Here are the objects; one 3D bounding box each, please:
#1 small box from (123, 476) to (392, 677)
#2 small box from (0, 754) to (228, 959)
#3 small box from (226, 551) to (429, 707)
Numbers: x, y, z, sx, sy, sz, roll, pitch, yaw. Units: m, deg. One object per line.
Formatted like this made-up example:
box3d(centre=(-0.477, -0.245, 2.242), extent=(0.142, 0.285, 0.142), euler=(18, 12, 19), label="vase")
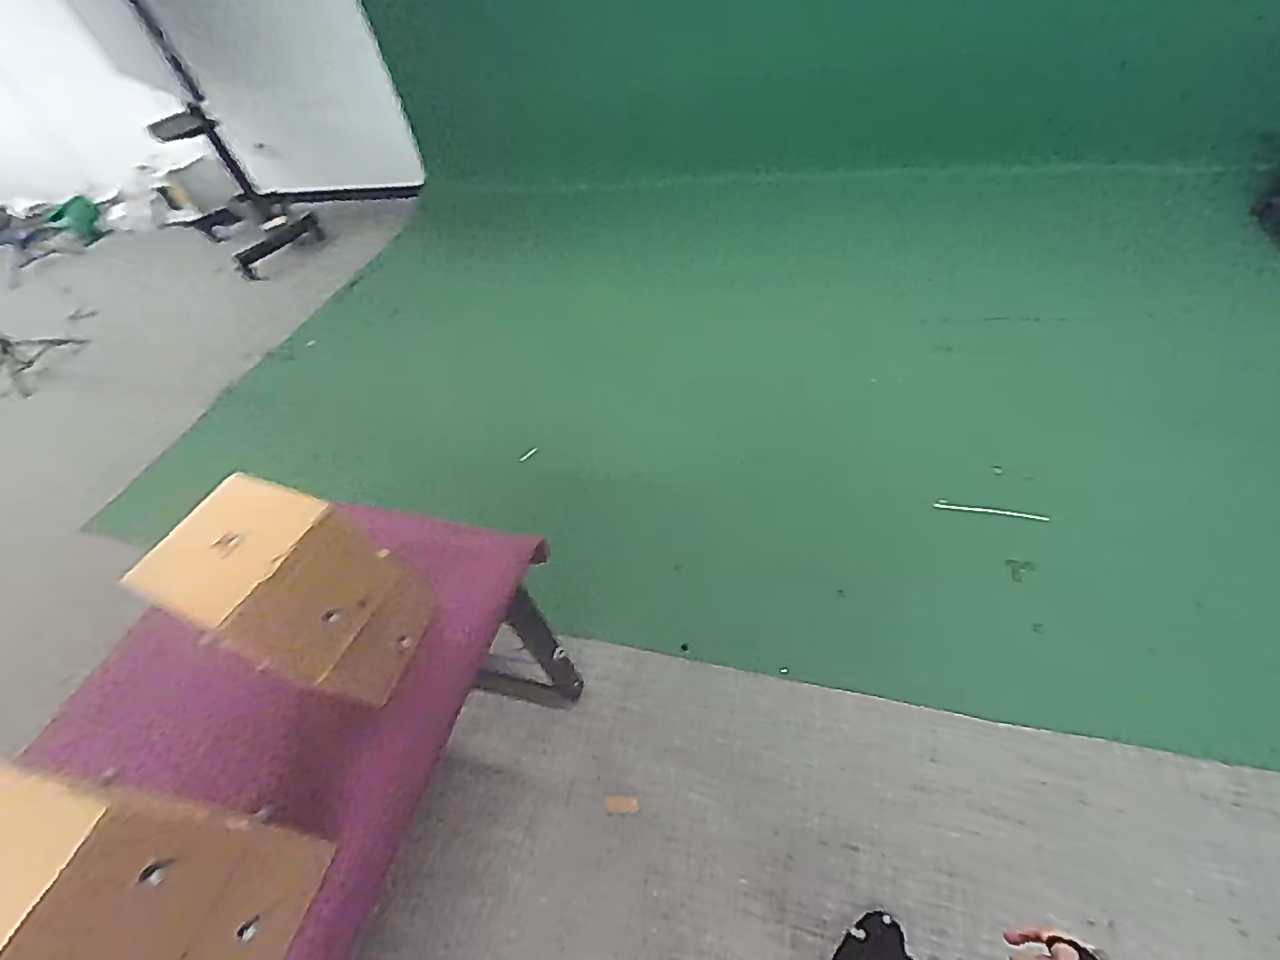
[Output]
box3d(centre=(-0.460, 0.123, 0.679), extent=(0.179, 0.176, 0.168), euler=(13, 54, 21), label="small box")
box3d(centre=(-0.519, 0.372, 0.475), extent=(0.168, 0.176, 0.179), euler=(5, 52, 18), label="small box")
box3d(centre=(-0.449, 0.216, 0.816), extent=(0.168, 0.176, 0.179), euler=(5, 52, 17), label="small box")
